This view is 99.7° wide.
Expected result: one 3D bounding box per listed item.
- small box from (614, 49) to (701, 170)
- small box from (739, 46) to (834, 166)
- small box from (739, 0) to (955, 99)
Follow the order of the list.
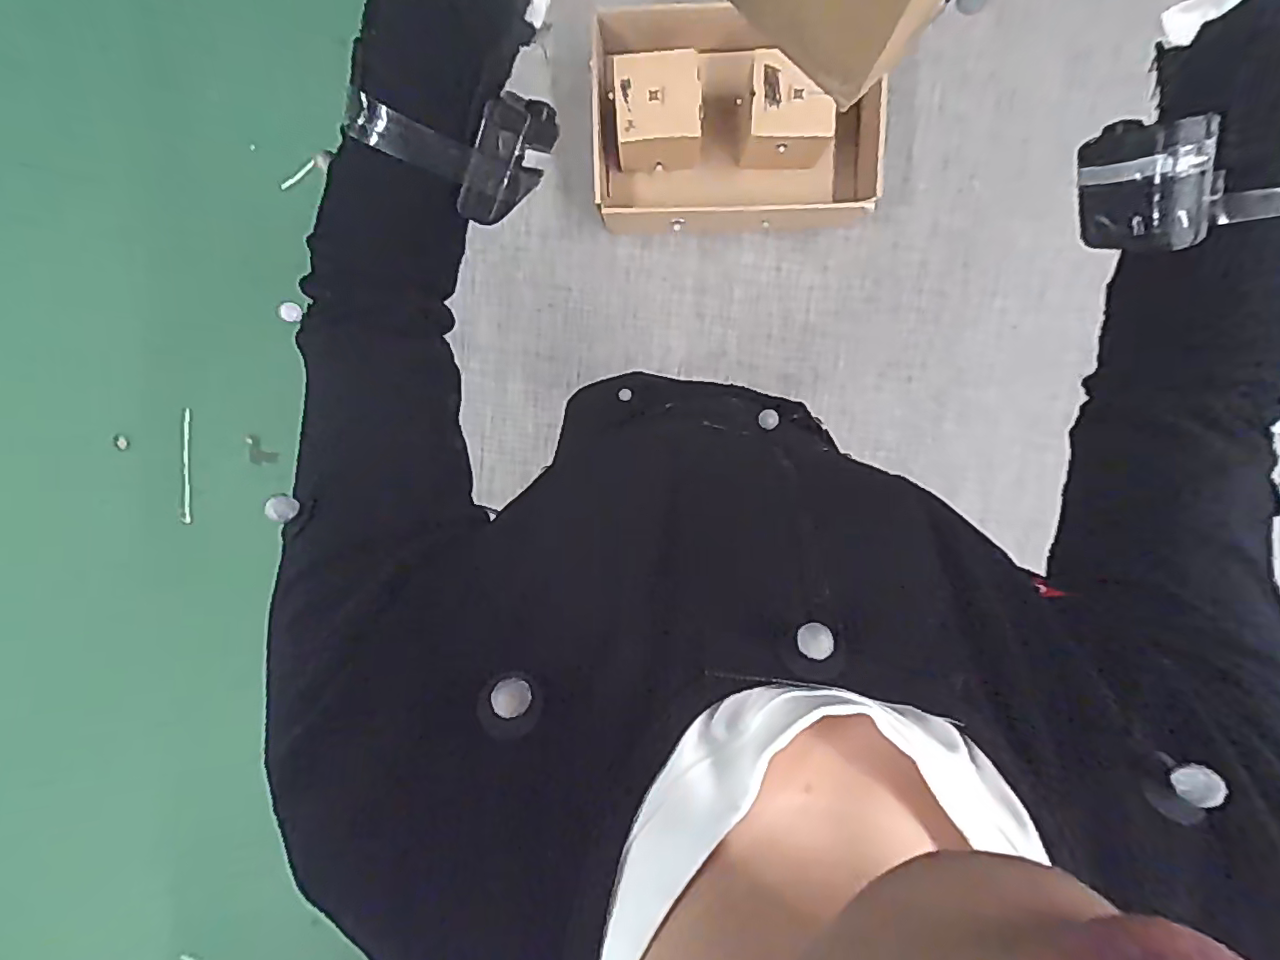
[{"bbox_3d":[0.035,-0.808,1.194,0.179,0.176,0.168,-4,99,0],"label":"small box"},{"bbox_3d":[0.316,-0.812,1.188,0.179,0.176,0.168,1,100,2],"label":"small box"},{"bbox_3d":[0.119,-0.338,0.251,0.179,0.176,0.168,44,96,-3],"label":"small box"}]
